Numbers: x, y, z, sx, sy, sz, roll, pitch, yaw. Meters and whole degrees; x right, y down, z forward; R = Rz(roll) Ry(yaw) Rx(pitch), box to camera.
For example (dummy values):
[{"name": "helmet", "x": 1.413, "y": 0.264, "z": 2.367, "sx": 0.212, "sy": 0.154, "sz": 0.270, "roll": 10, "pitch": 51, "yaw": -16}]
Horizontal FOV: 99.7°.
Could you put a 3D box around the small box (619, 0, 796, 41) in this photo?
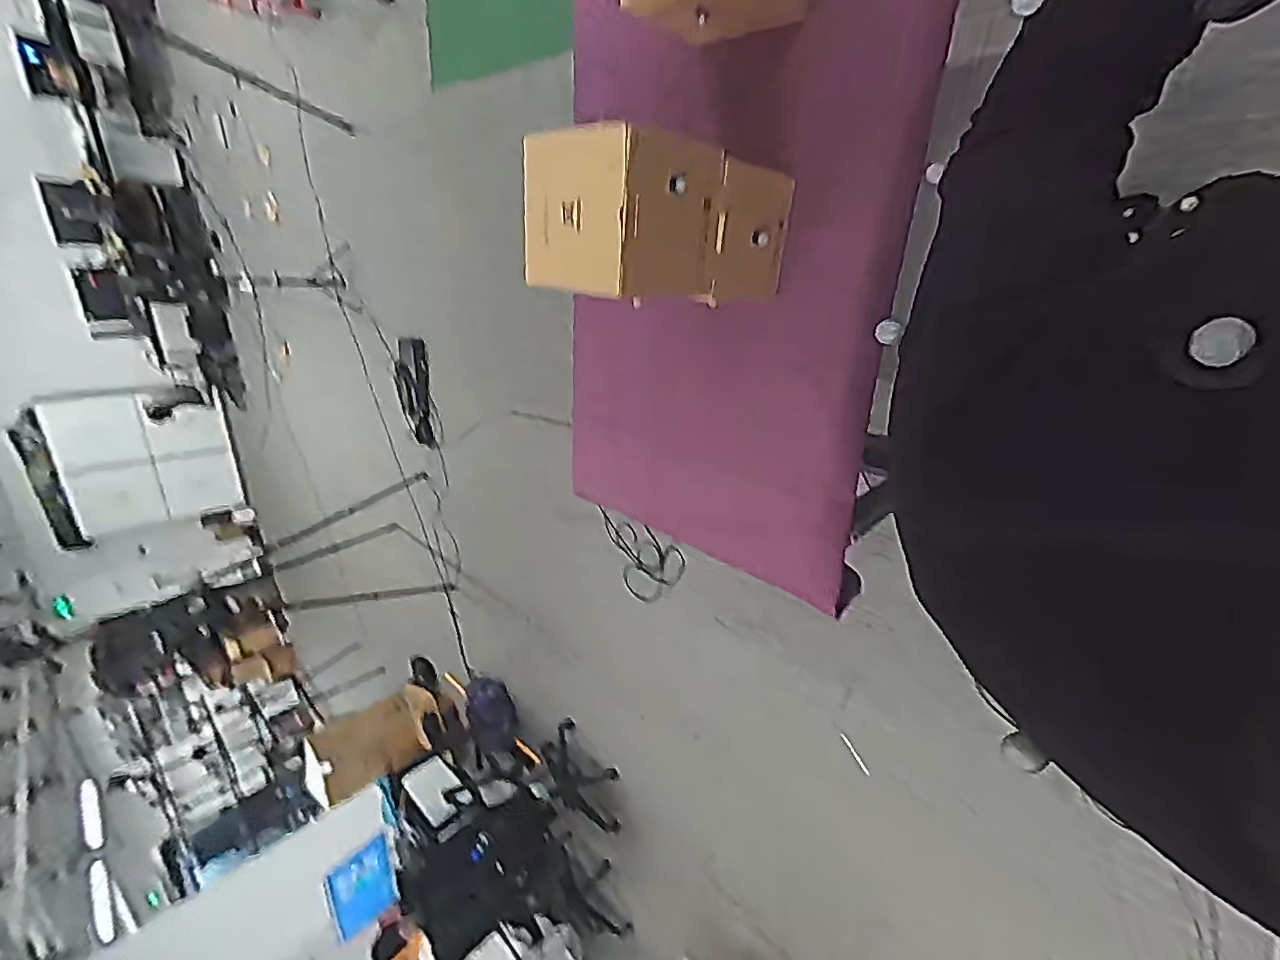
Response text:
[{"name": "small box", "x": 0.097, "y": -0.671, "z": 0.659, "sx": 0.179, "sy": 0.176, "sz": 0.168, "roll": 25, "pitch": 120, "yaw": 37}]

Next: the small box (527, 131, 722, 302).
[{"name": "small box", "x": -0.019, "y": -0.318, "z": 0.668, "sx": 0.179, "sy": 0.176, "sz": 0.168, "roll": 24, "pitch": 120, "yaw": 38}]

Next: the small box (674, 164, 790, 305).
[{"name": "small box", "x": 0.094, "y": -0.352, "z": 0.781, "sx": 0.179, "sy": 0.176, "sz": 0.168, "roll": 24, "pitch": 120, "yaw": 37}]
